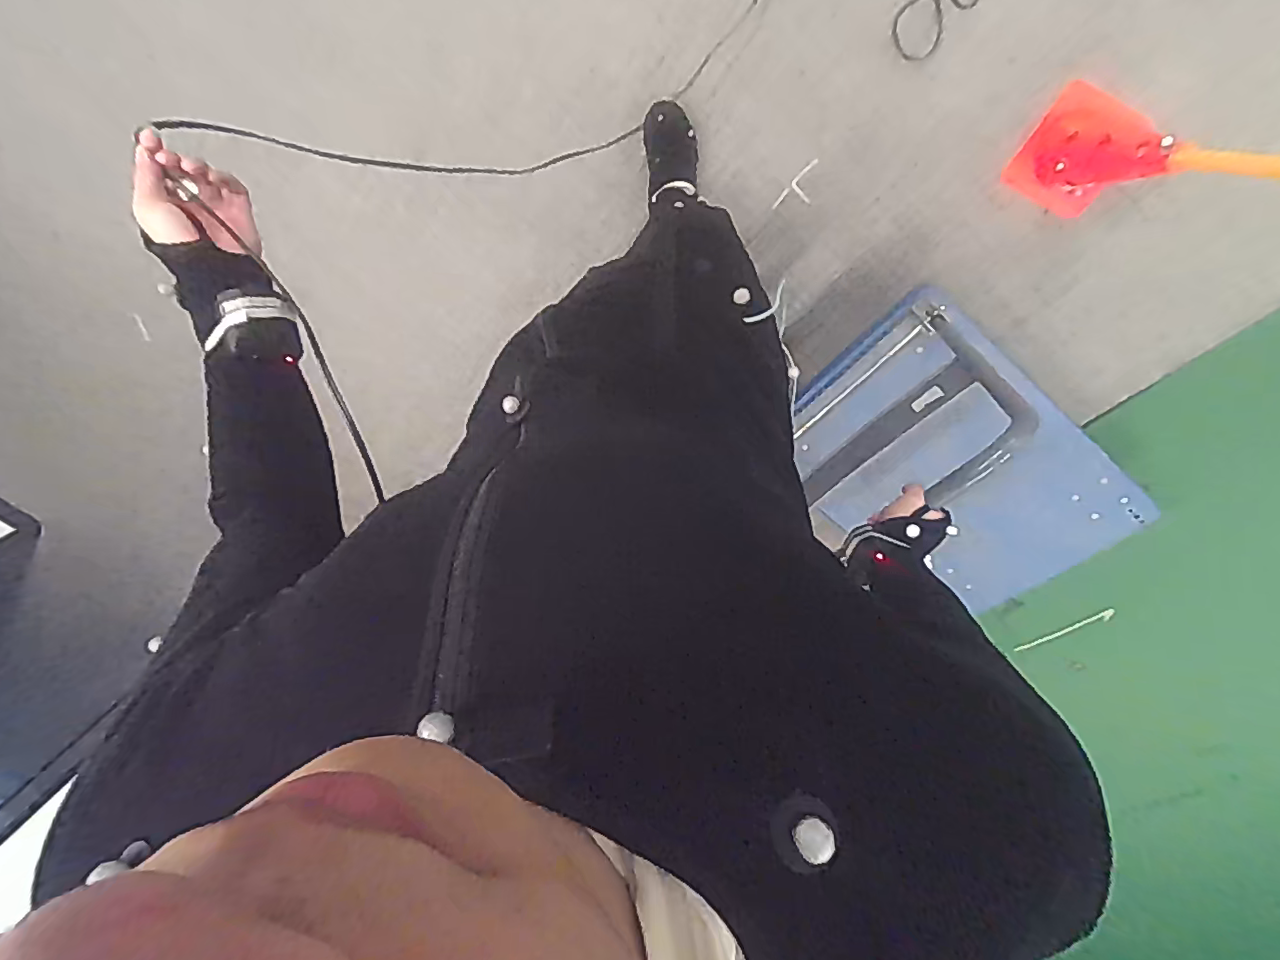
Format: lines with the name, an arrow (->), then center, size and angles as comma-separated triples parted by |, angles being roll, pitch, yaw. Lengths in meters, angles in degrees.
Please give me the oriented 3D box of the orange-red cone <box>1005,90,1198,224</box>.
orange-red cone -> 0.887, -0.587, 0.998 | 0.198, 0.360, 0.199 | 27, 122, -6
